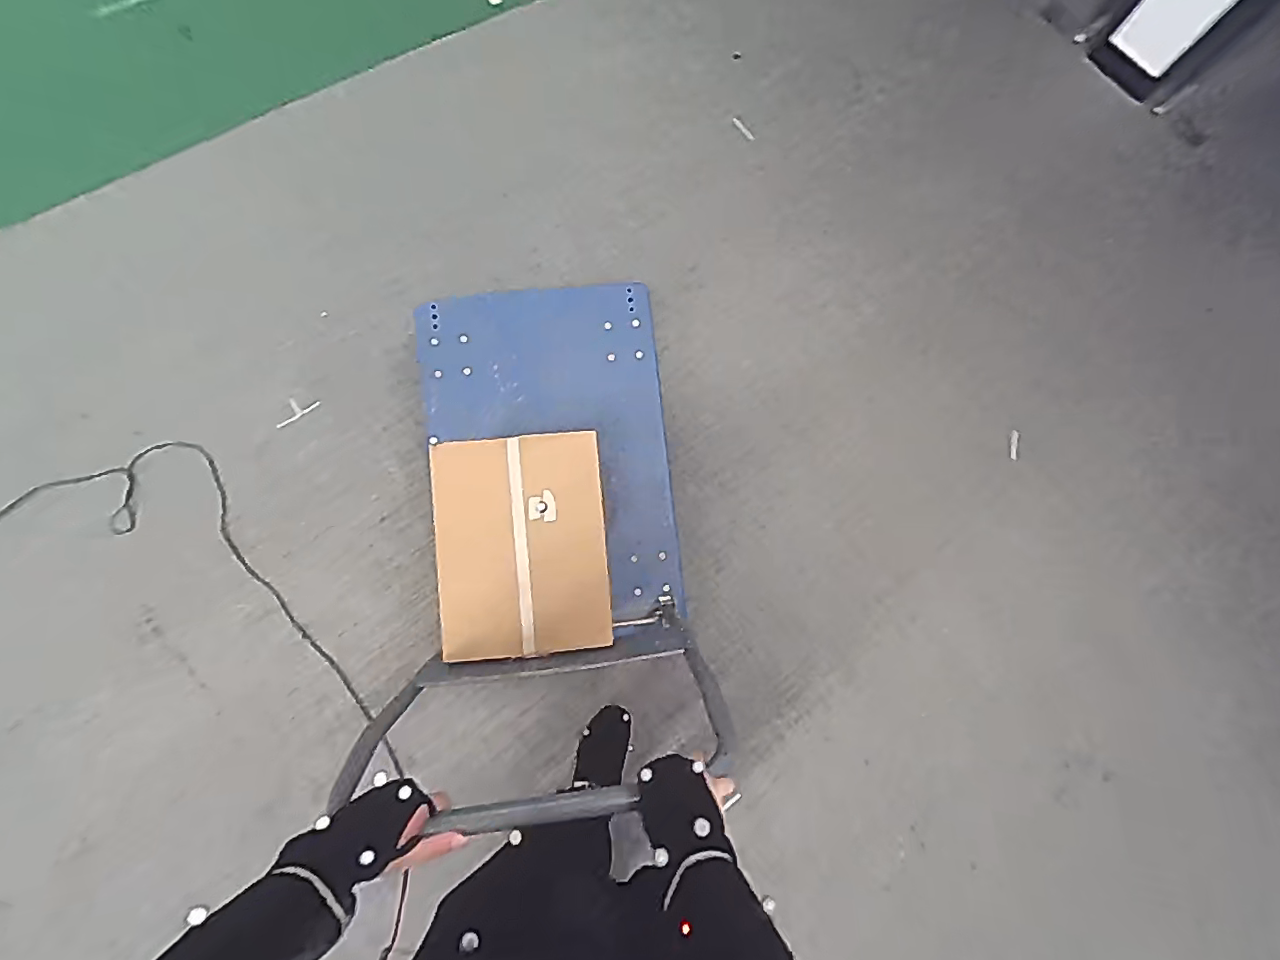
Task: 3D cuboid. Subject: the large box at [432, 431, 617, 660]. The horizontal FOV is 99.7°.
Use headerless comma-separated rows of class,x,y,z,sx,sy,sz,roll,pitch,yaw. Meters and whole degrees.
large box,-0.225,0.131,1.157,0.320,0.320,0.408,-5,86,-4
